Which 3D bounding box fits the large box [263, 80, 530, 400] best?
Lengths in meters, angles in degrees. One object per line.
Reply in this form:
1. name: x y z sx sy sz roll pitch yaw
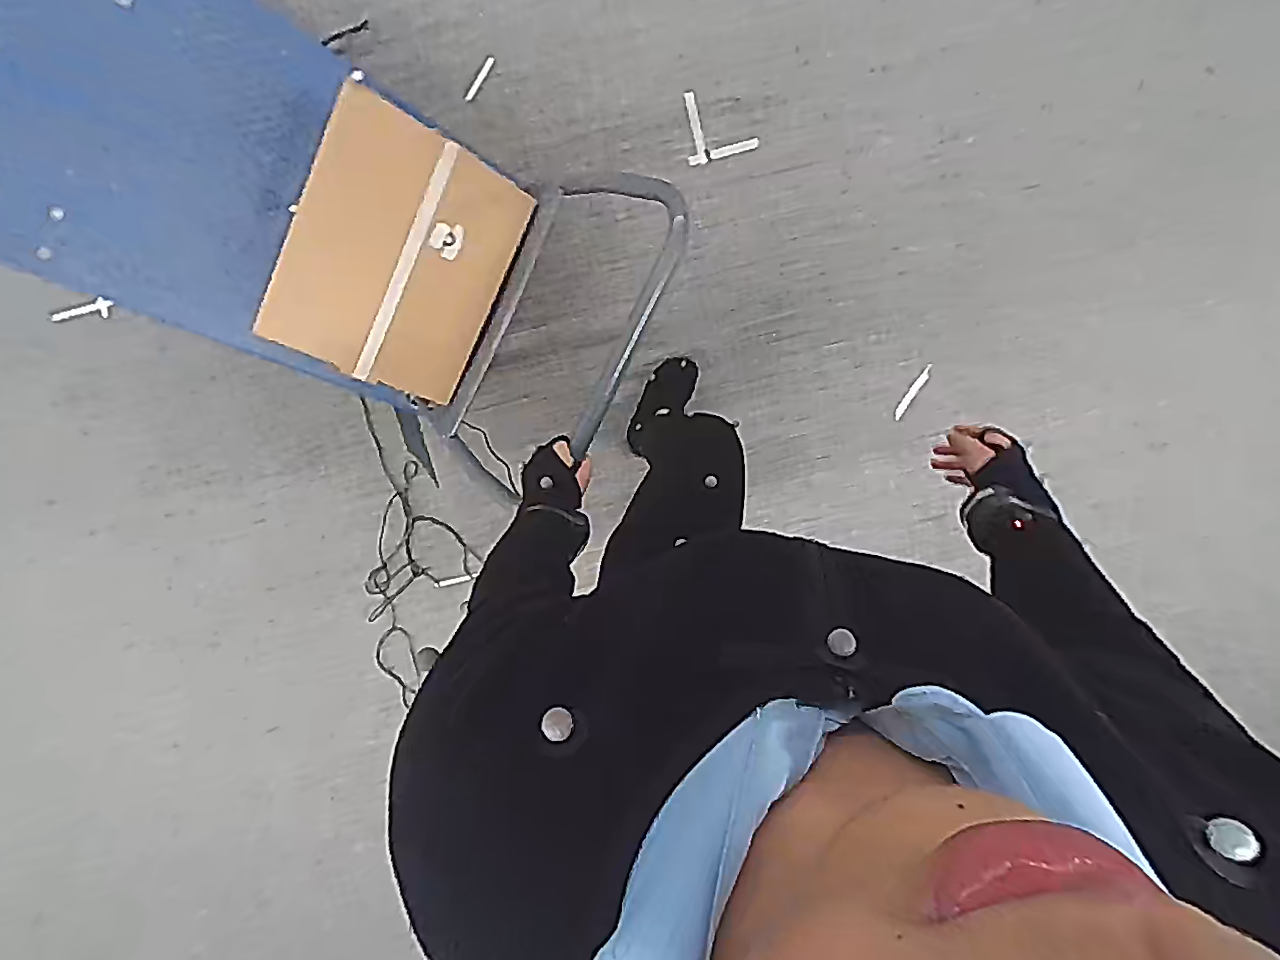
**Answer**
1. large box: -0.461 -0.414 1.020 0.320 0.320 0.408 20 99 -35
